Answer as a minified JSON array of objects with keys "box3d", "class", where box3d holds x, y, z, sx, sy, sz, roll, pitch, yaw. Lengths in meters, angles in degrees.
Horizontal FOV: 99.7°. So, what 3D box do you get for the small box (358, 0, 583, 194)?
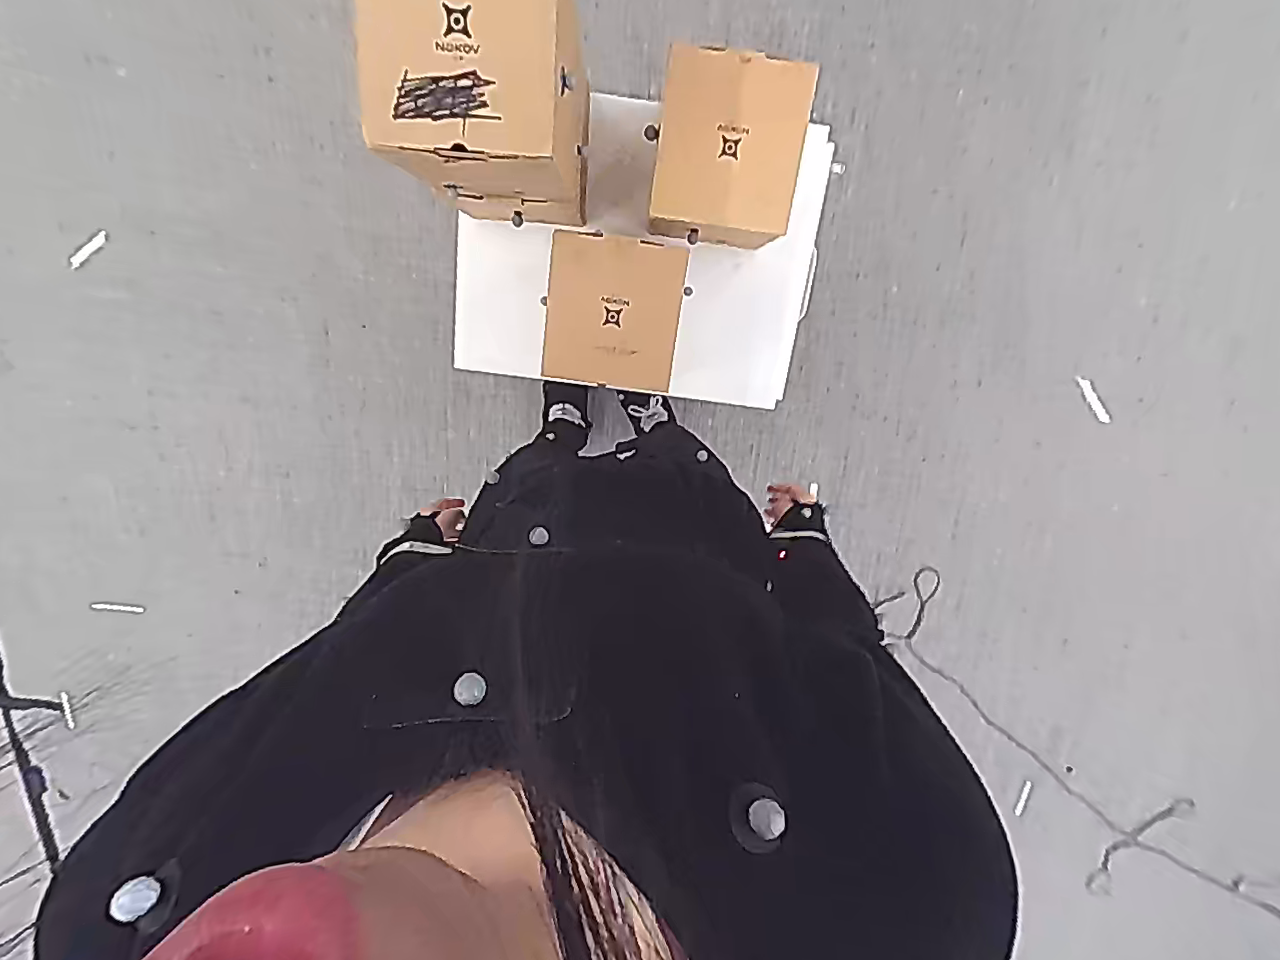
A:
[{"box3d":[-0.147,-0.389,0.520,0.168,0.176,0.179,4,106,-1],"class":"small box"}]
